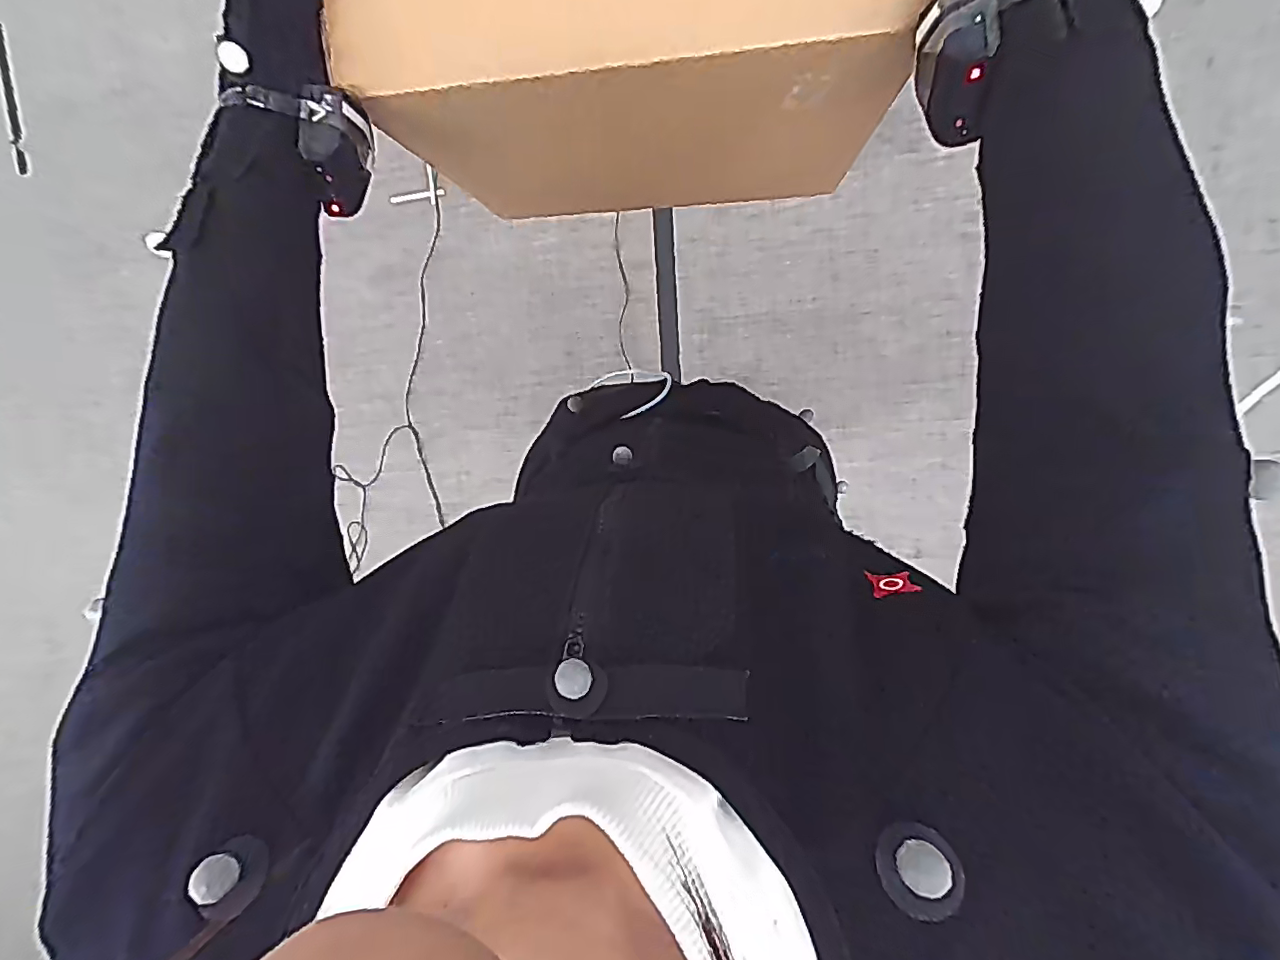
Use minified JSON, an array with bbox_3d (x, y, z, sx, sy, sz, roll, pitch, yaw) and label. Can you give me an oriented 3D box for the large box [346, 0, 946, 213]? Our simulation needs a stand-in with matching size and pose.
[{"bbox_3d":[0.003,-0.460,0.478,0.408,0.320,0.320,-2,102,7],"label":"large box"}]
